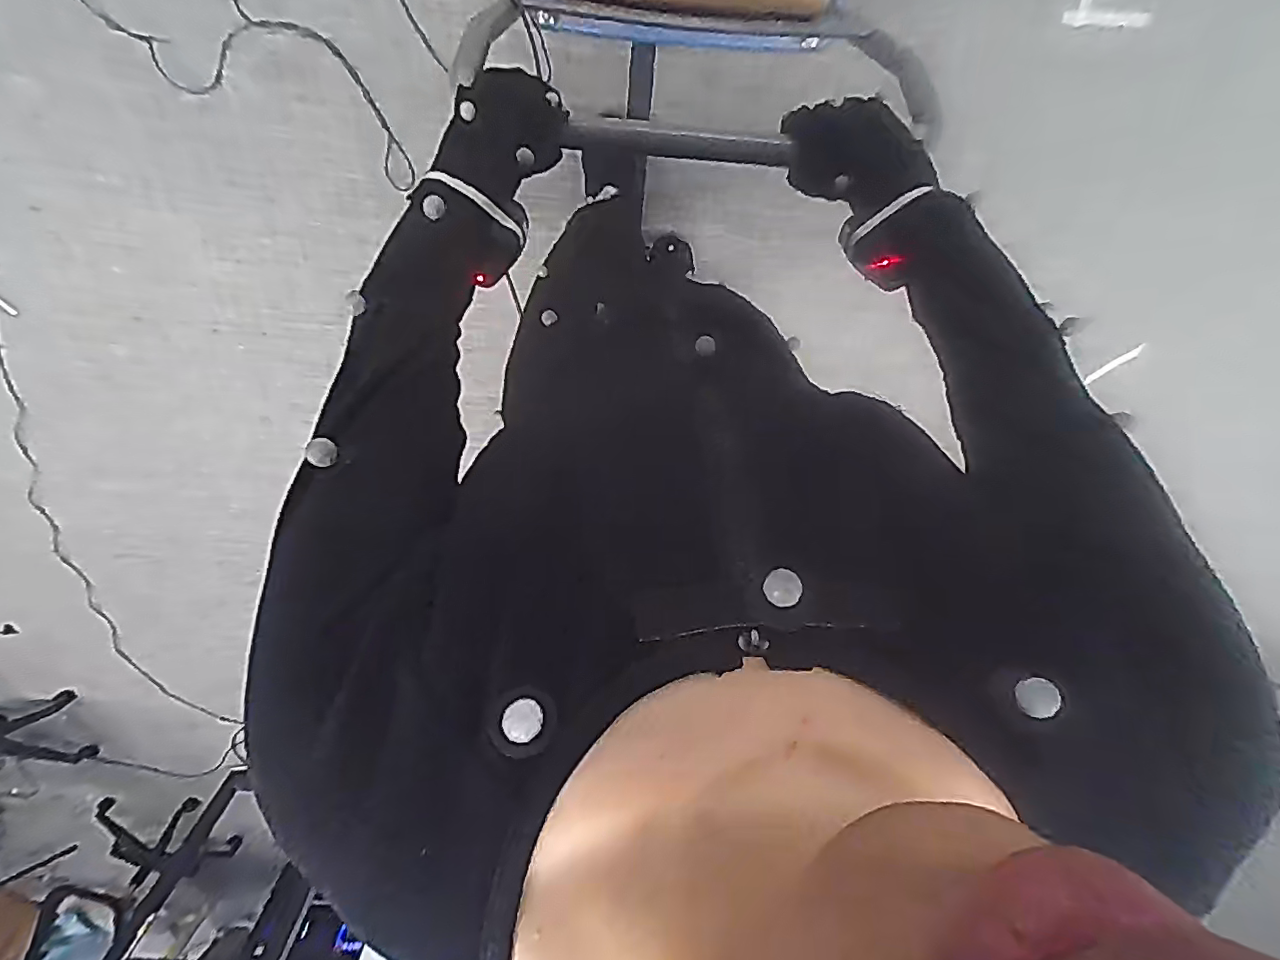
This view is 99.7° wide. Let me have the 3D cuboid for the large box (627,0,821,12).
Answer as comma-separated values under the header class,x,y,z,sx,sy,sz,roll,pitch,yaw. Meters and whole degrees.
class,x,y,z,sx,sy,sz,roll,pitch,yaw
large box,0.060,-0.877,0.754,0.408,0.320,0.320,3,134,-3
